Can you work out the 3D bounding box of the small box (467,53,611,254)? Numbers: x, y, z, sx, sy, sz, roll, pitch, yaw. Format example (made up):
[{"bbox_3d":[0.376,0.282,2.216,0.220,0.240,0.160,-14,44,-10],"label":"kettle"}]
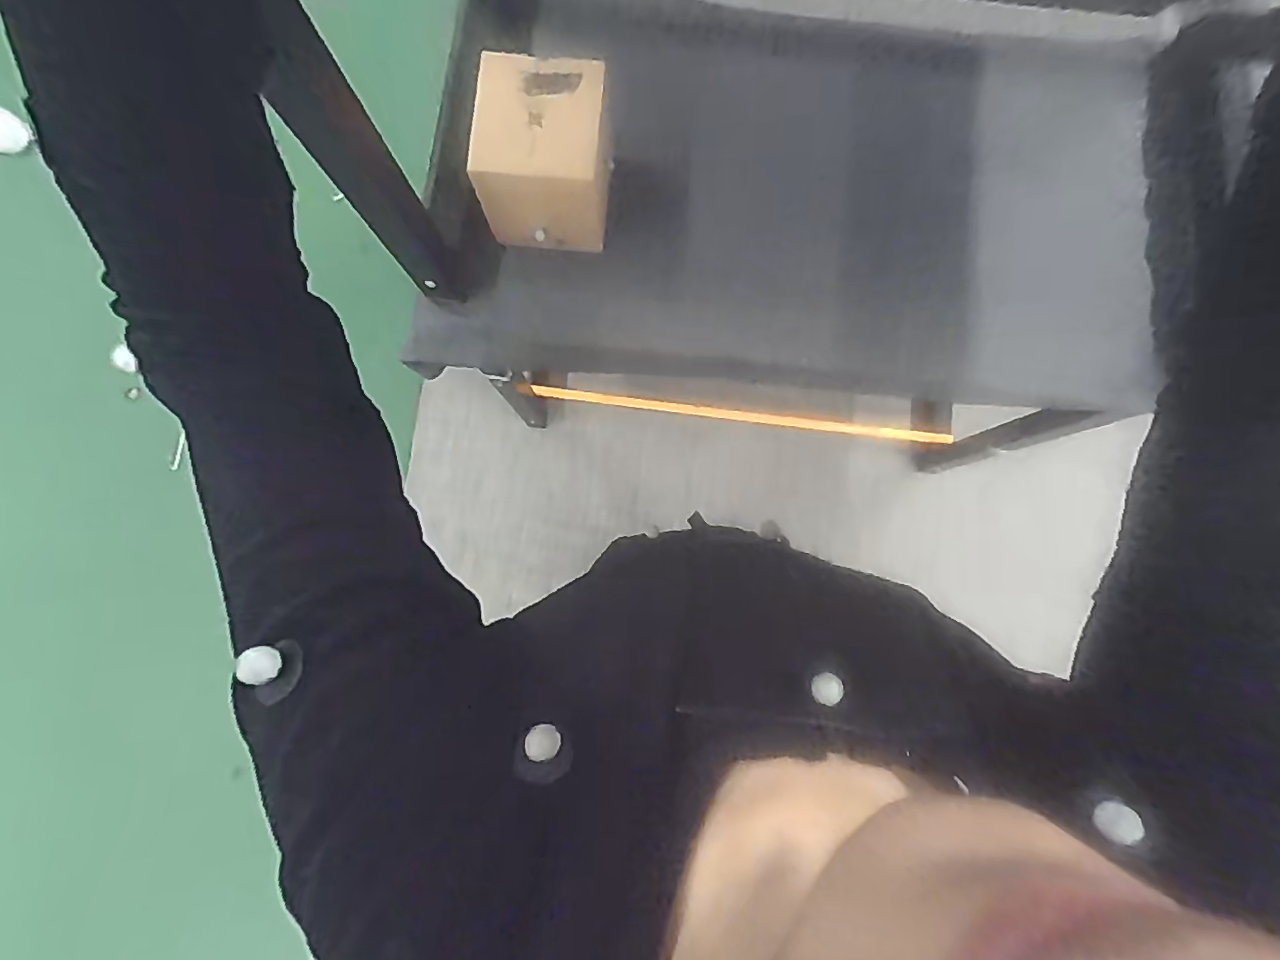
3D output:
[{"bbox_3d":[-0.131,-0.455,0.772,0.168,0.176,0.179,4,81,1],"label":"small box"}]
